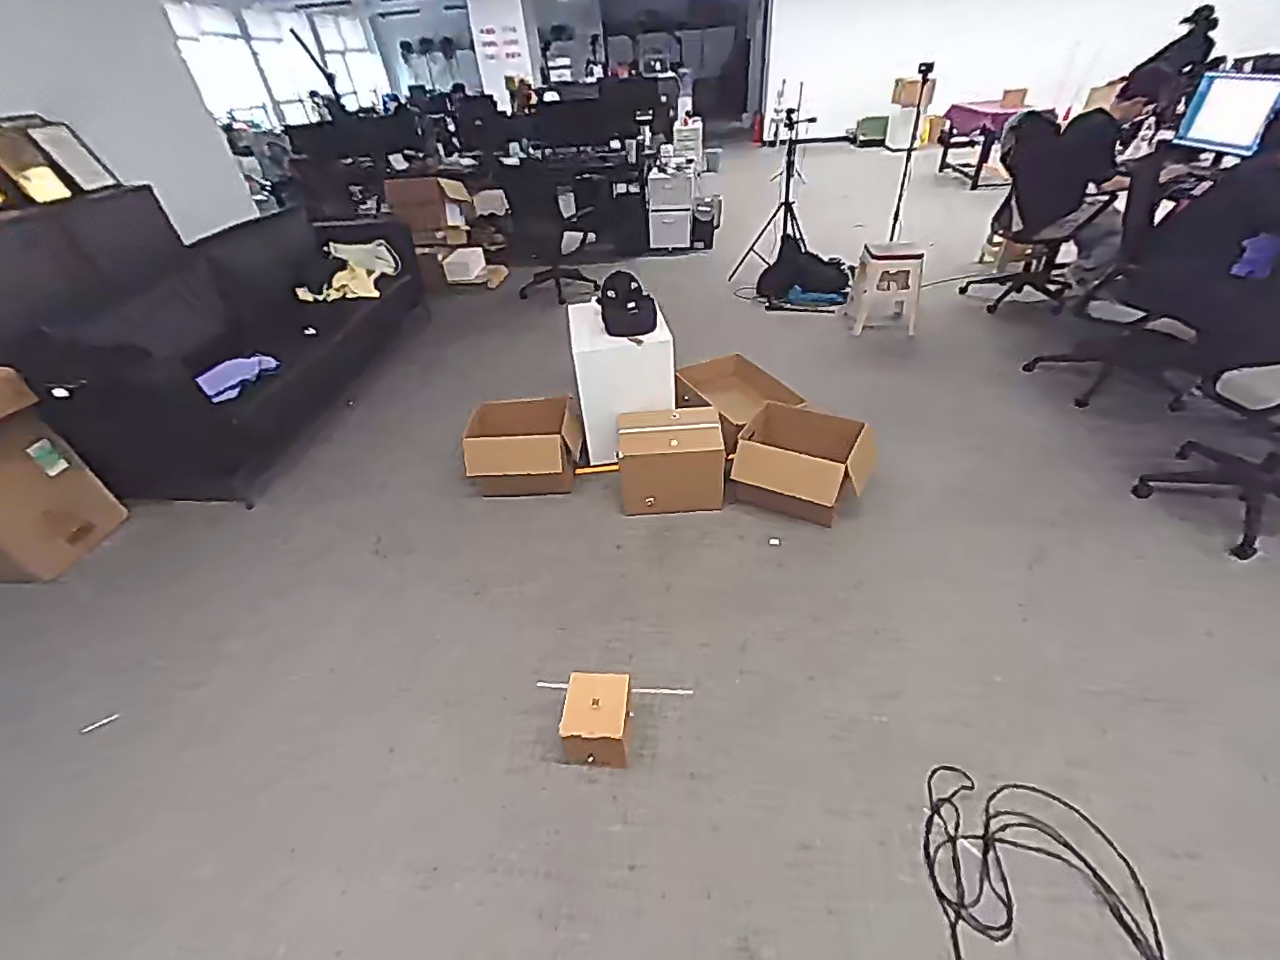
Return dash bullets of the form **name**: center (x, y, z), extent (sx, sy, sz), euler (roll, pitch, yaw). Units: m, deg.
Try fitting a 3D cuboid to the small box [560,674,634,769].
- **small box**: center (-0.108, 0.650, 1.460), extent (0.168, 0.176, 0.179), euler (-1, 39, 7)
